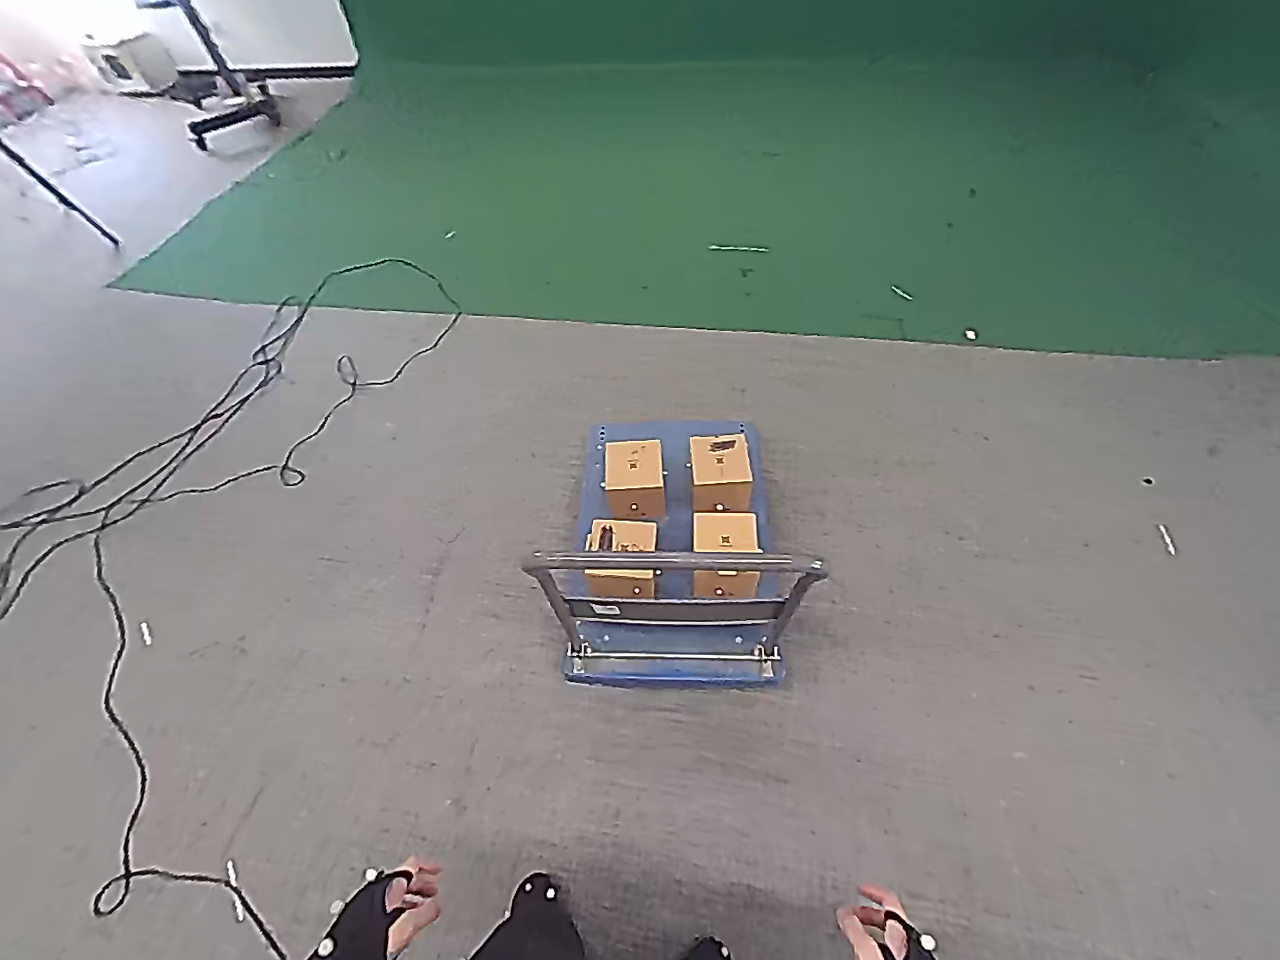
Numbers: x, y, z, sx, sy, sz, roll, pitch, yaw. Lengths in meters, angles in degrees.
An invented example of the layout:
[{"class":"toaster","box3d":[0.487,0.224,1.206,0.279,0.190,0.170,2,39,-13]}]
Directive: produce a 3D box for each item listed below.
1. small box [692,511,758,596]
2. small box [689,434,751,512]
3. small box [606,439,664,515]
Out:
[{"class":"small box","box3d":[0.229,0.203,1.493,0.168,0.176,0.179,0,55,4]},{"class":"small box","box3d":[0.237,-0.019,1.647,0.168,0.176,0.179,-4,56,3]},{"class":"small box","box3d":[-0.014,-0.002,1.656,0.168,0.176,0.179,-3,55,1]}]
